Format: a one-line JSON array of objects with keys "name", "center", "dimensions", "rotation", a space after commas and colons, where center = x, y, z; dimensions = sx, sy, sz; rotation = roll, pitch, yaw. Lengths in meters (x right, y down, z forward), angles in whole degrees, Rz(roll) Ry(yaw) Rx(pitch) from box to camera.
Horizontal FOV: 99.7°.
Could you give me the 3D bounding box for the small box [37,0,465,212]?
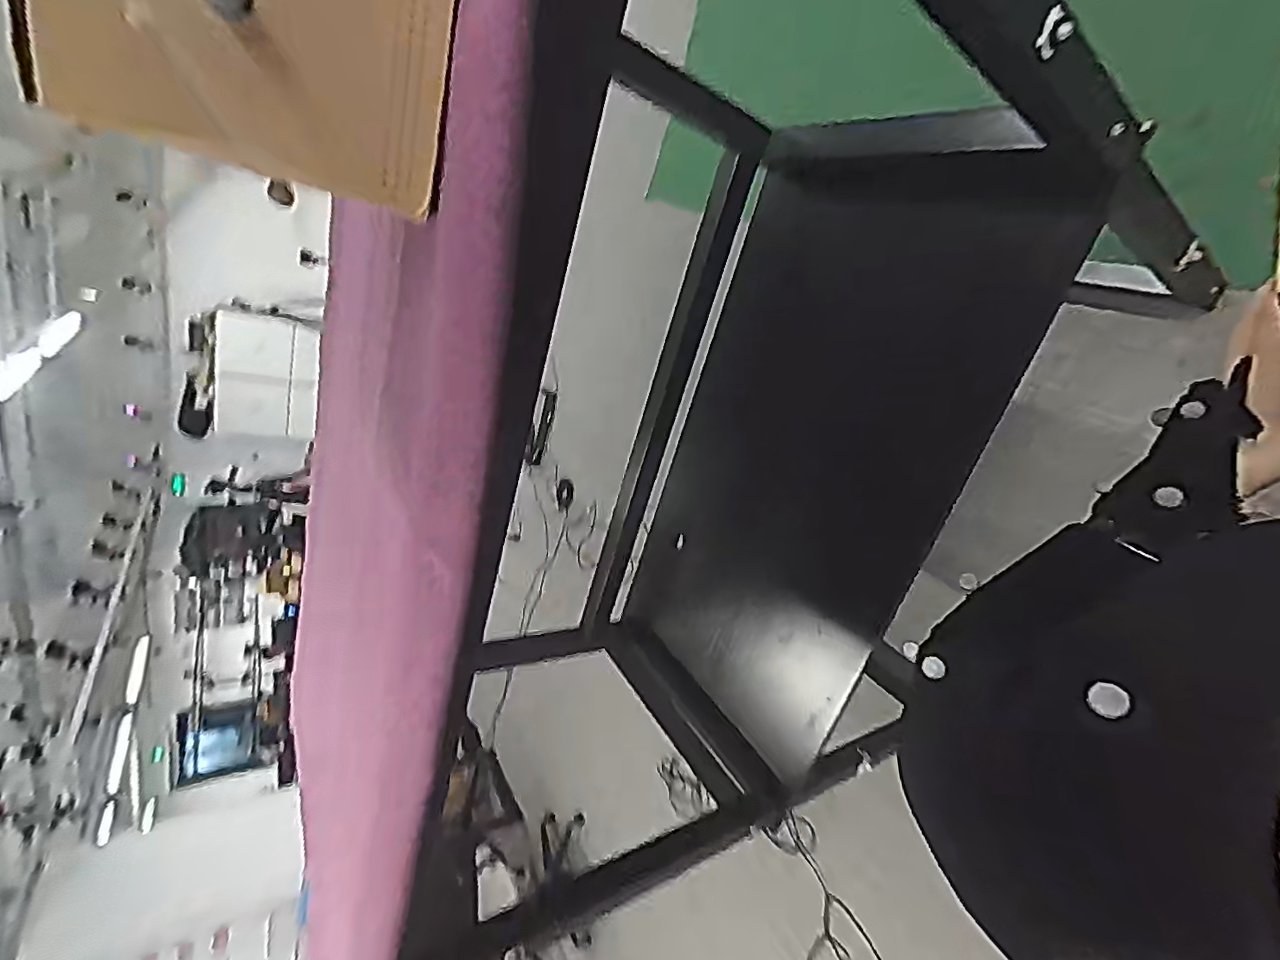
[{"name": "small box", "center": [-0.205, -0.271, 0.312], "dimensions": [0.168, 0.176, 0.179], "rotation": [42, 123, 49]}]
